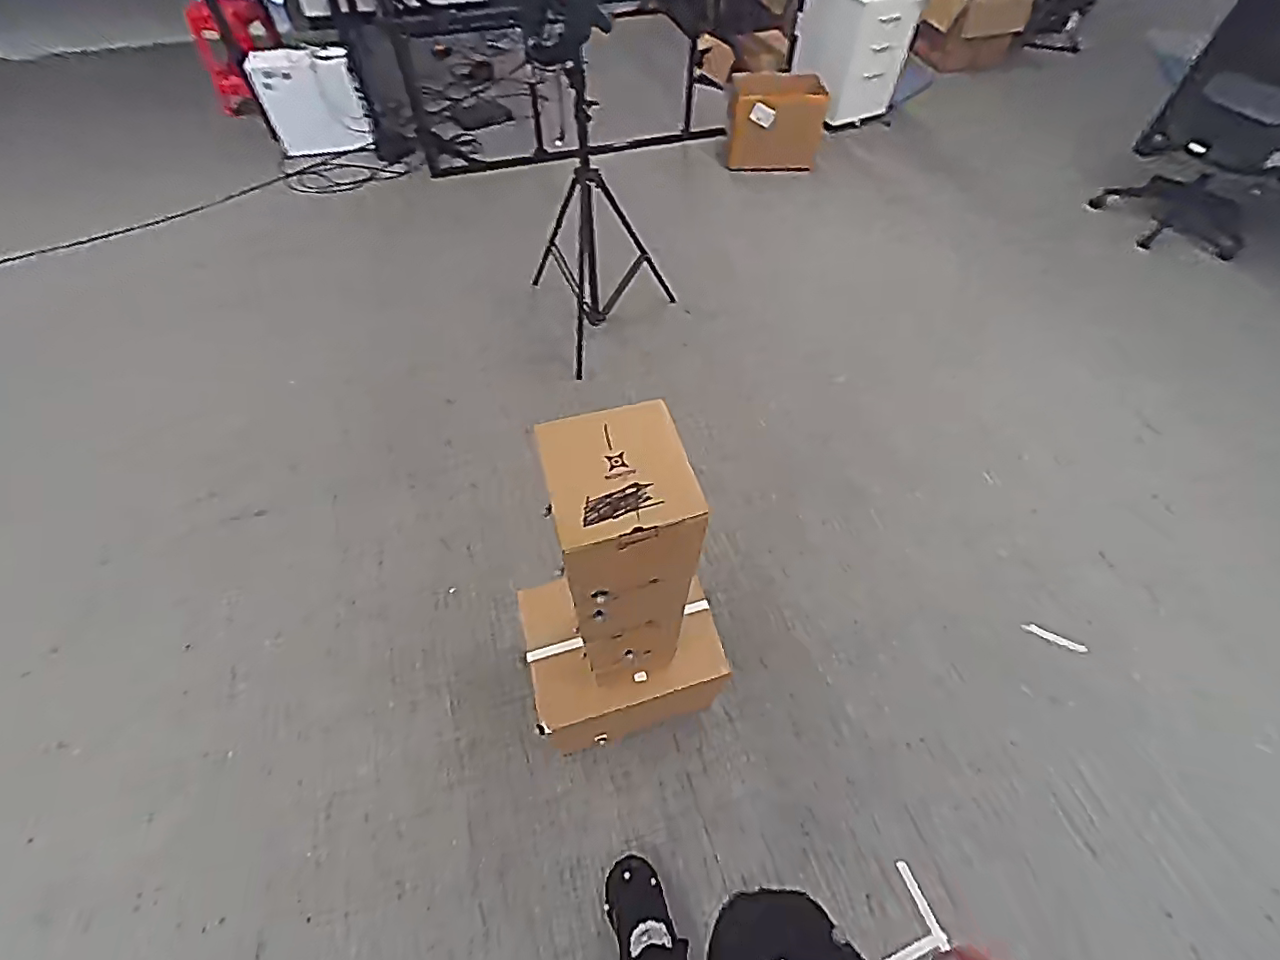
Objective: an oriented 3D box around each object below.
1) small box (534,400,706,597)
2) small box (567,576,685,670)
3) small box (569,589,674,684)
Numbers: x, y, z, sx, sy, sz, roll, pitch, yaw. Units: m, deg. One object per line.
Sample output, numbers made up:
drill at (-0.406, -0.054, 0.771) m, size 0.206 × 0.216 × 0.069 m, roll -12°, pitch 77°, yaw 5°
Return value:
small box at (-0.027, 0.032, 0.682) m, size 0.168 × 0.176 × 0.179 m, roll -14°, pitch 57°, yaw -10°
small box at (-0.033, 0.211, 0.957) m, size 0.168 × 0.176 × 0.179 m, roll -15°, pitch 59°, yaw -11°
small box at (-0.033, 0.294, 1.097) m, size 0.179 × 0.176 × 0.168 m, roll -16°, pitch 59°, yaw -12°
